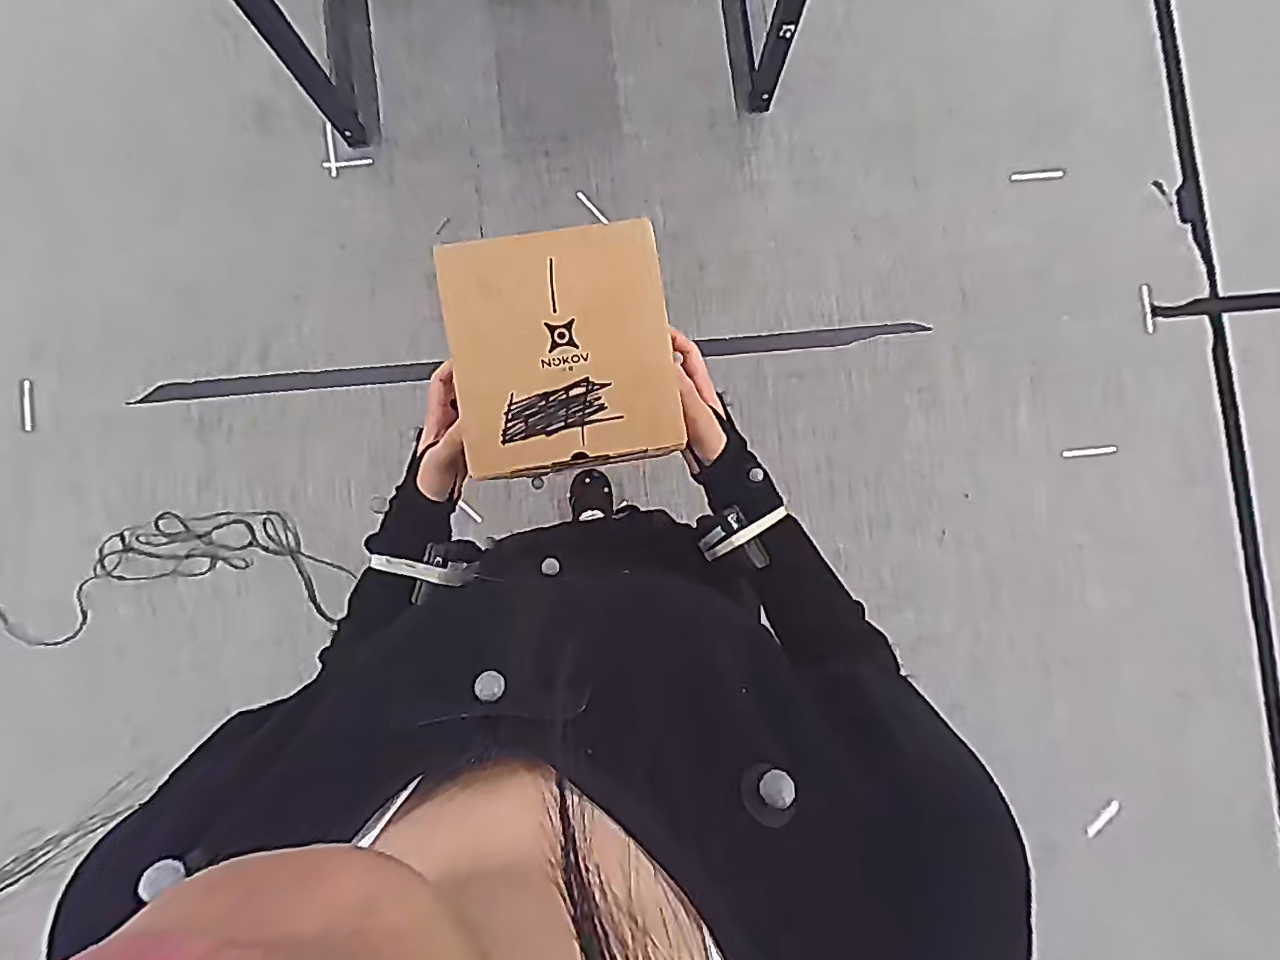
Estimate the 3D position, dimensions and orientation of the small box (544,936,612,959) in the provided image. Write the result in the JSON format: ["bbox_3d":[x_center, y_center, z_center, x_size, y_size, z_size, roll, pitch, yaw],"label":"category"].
[{"bbox_3d":[-0.159,1.311,1.370,0.179,0.176,0.168,-6,88,-3],"label":"small box"}]

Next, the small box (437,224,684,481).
[{"bbox_3d":[-0.062,-0.096,0.480,0.168,0.176,0.179,-8,90,-4],"label":"small box"}]
